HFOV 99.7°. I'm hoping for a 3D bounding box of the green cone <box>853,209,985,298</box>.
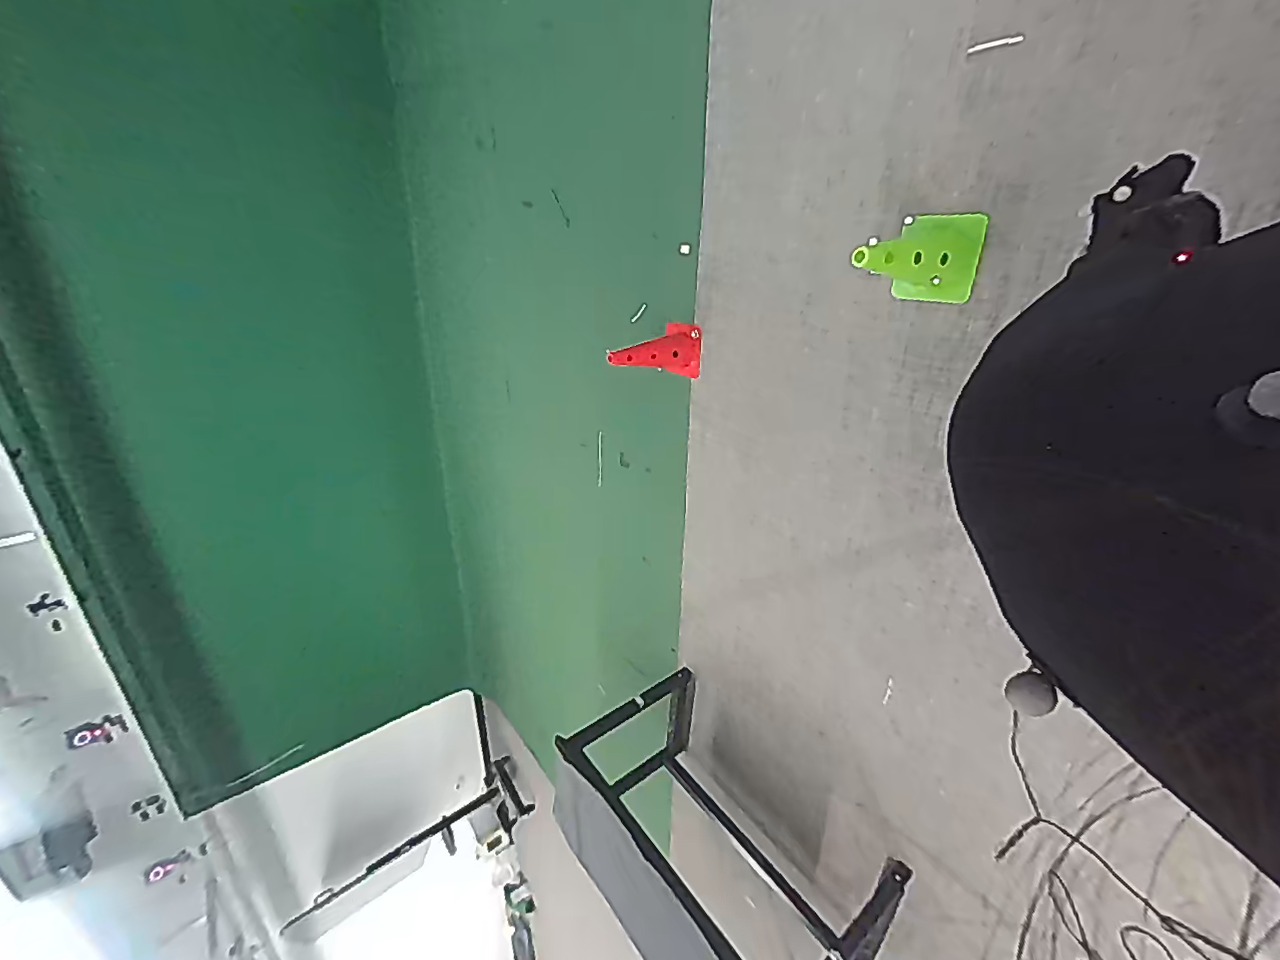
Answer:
[{"bbox_3d":[0.604,-0.519,1.251,0.202,0.368,0.200,25,124,46],"label":"green cone"}]
